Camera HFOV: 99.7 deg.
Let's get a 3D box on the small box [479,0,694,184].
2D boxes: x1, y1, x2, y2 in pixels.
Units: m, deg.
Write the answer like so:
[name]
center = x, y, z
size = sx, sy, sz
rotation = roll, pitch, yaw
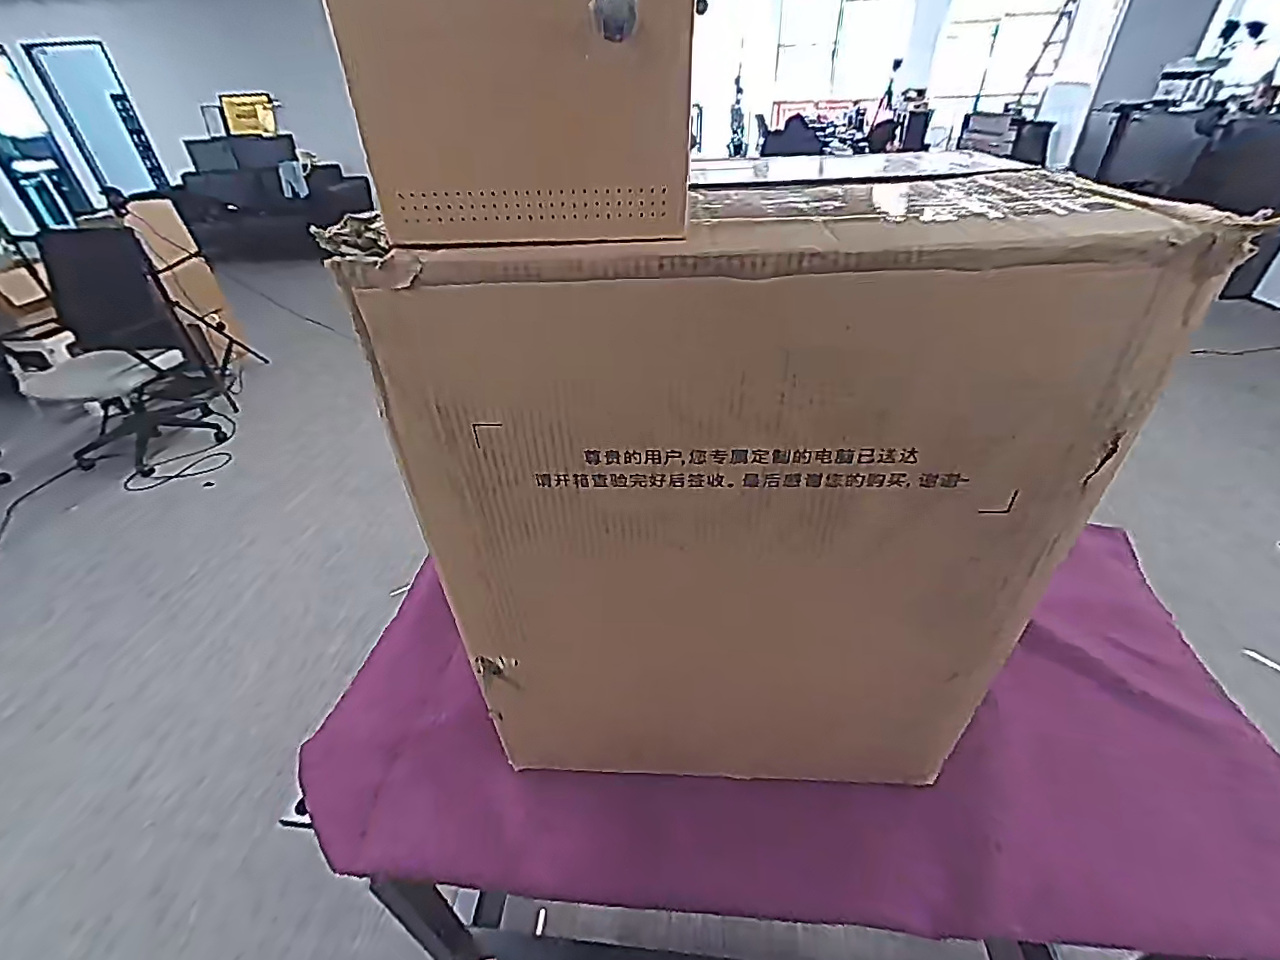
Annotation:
[small box]
center = -0.035, -0.384, 0.510
size = 0.168, 0.176, 0.179
rotation = 3, 36, 6
